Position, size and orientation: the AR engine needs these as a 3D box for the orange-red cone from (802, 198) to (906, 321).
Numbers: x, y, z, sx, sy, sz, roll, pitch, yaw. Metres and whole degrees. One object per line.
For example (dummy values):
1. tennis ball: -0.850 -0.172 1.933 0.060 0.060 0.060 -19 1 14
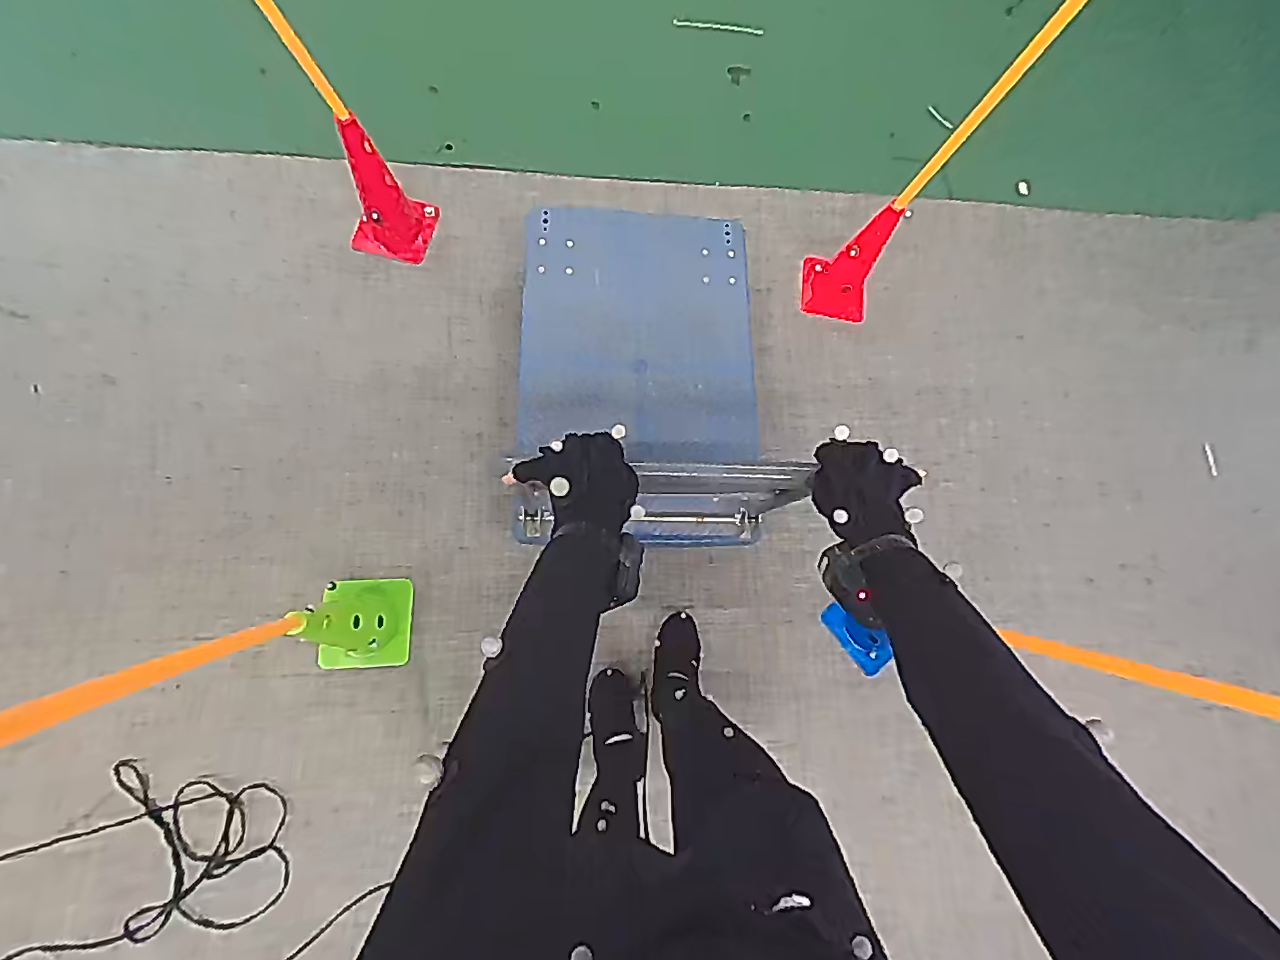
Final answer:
1. orange-red cone: 0.612 -0.626 1.480 0.198 0.360 0.199 11 76 -3
